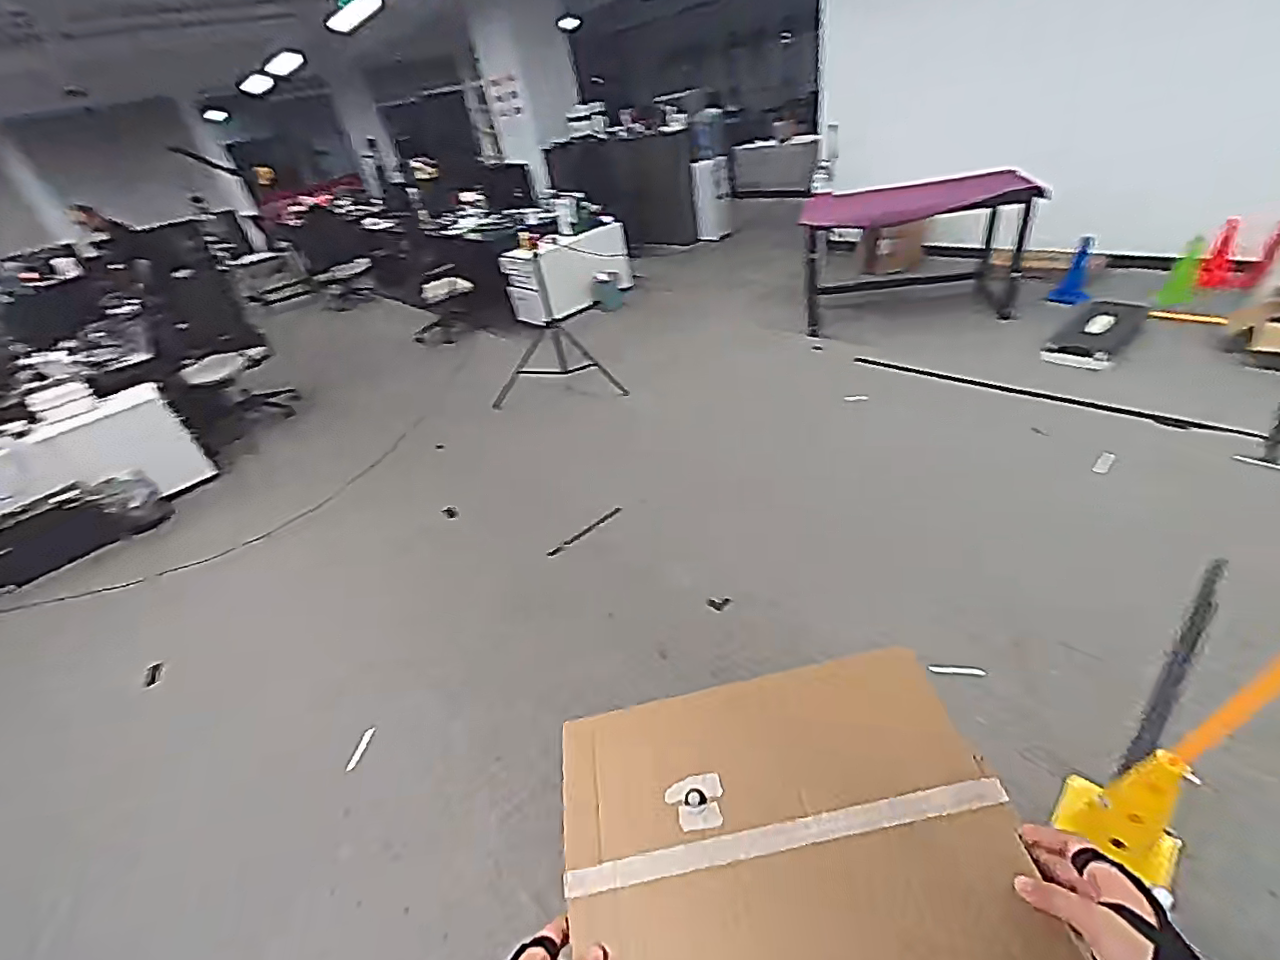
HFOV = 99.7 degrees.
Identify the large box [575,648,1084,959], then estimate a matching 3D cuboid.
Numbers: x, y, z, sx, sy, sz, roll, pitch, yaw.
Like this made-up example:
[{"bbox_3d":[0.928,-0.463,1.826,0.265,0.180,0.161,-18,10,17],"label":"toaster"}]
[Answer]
[{"bbox_3d":[0.169,0.443,0.610,0.408,0.320,0.320,-14,41,4],"label":"large box"}]
